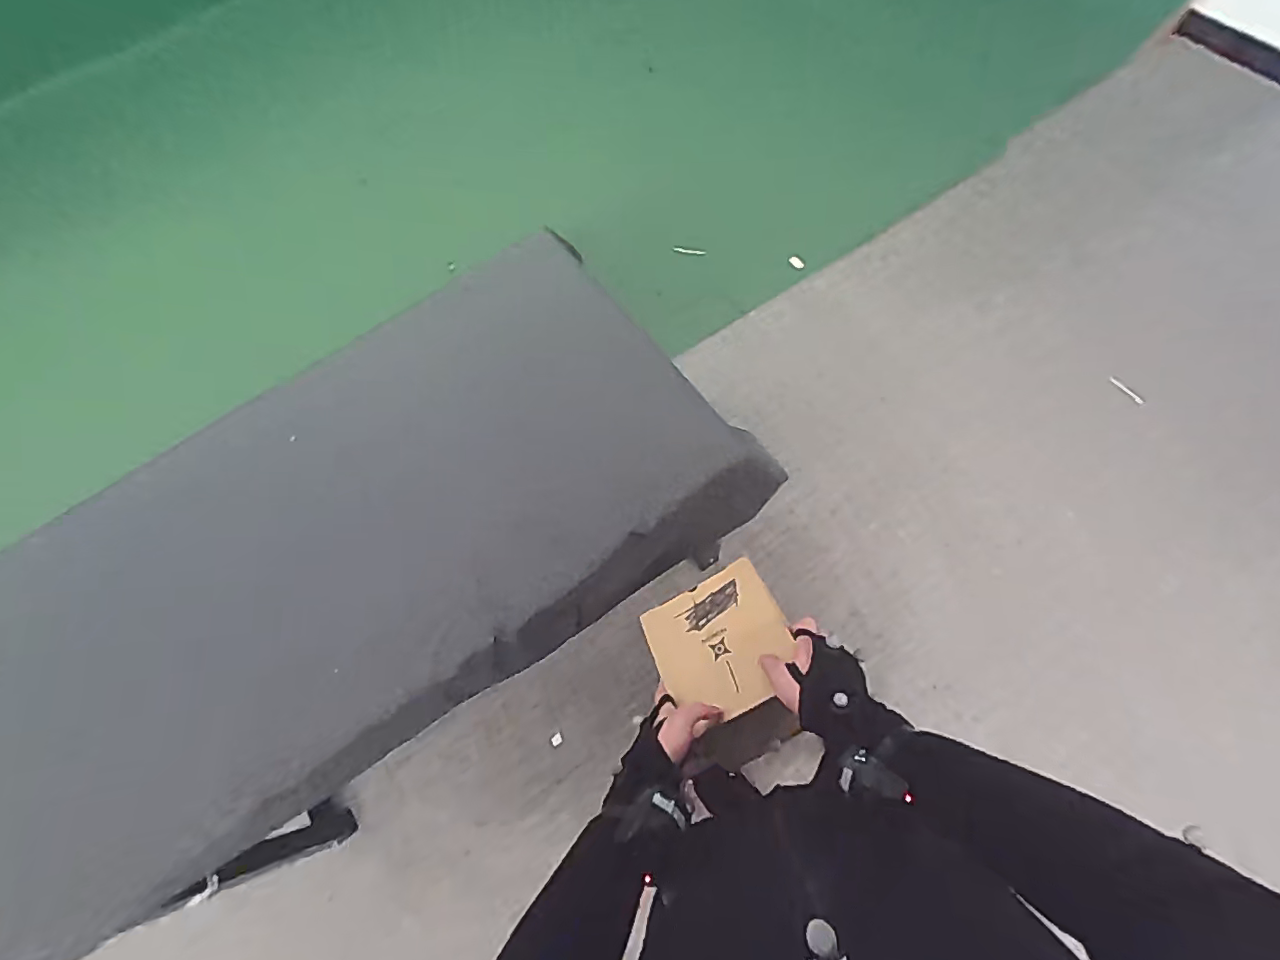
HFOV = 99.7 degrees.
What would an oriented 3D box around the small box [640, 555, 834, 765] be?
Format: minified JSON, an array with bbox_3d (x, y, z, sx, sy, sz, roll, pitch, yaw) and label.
[{"bbox_3d":[0.125,0.237,0.702,0.168,0.176,0.179,-31,45,8],"label":"small box"}]
